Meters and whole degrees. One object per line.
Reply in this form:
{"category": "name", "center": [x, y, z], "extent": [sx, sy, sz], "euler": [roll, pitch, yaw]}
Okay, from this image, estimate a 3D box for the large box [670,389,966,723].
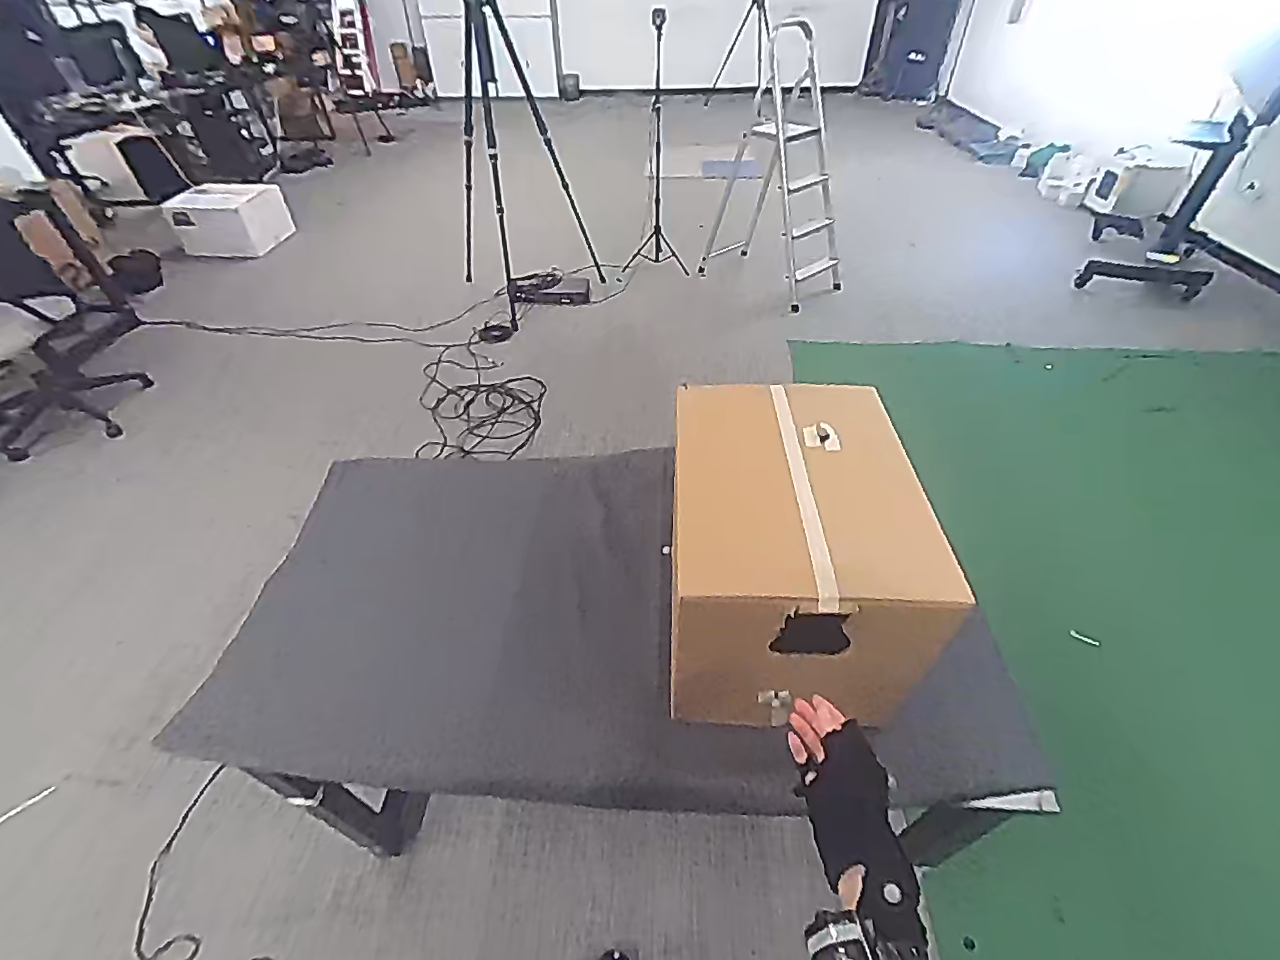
{"category": "large box", "center": [0.203, 0.104, 0.814], "extent": [0.320, 0.320, 0.408], "euler": [1, 42, 3]}
